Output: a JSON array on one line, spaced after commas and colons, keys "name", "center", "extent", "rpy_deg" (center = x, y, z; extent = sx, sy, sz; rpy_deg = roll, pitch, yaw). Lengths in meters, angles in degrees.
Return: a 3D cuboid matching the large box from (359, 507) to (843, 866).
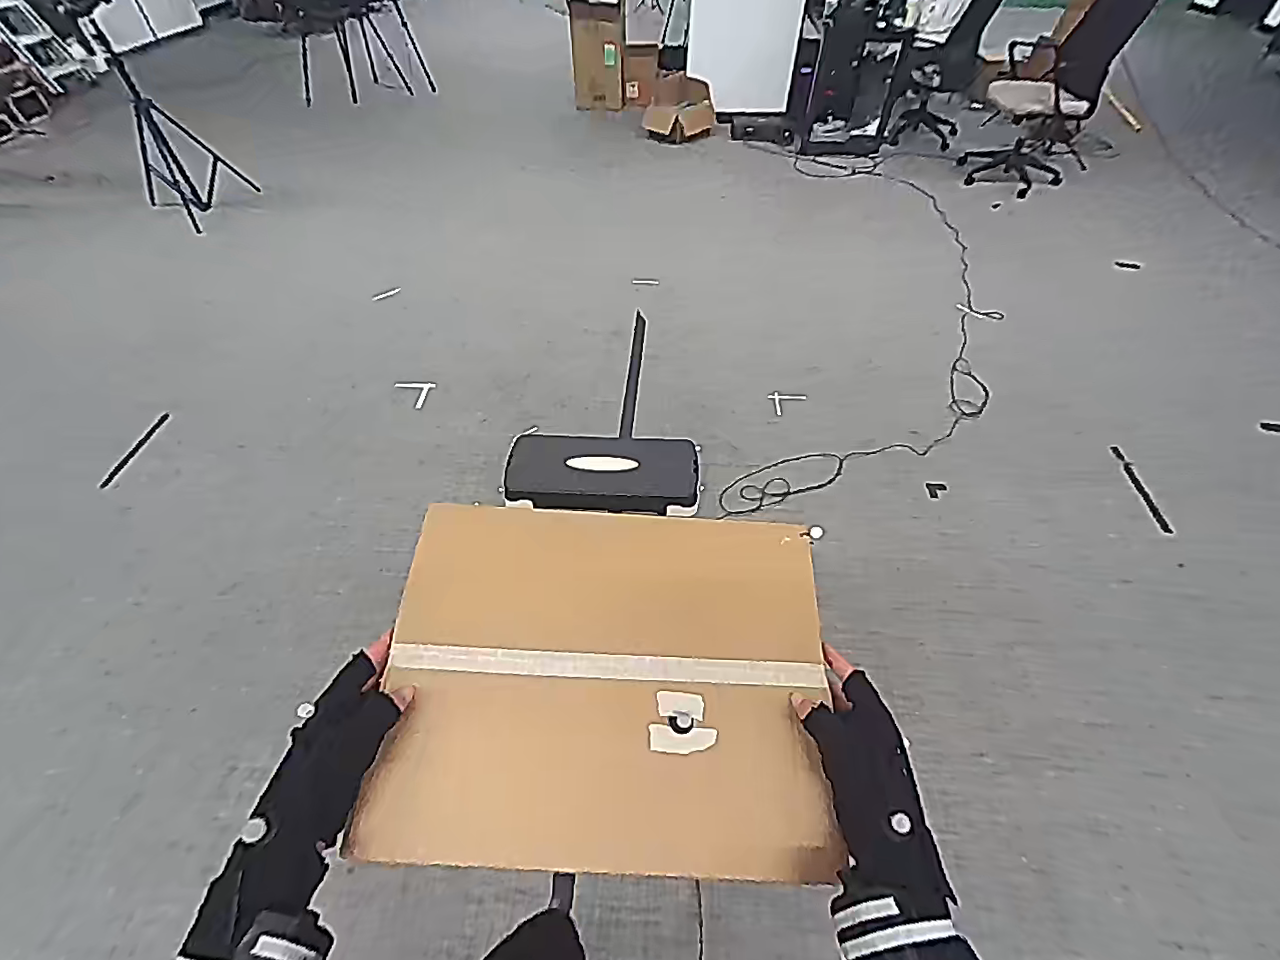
[{"name": "large box", "center": [-0.034, 0.246, 0.639], "extent": [0.408, 0.320, 0.320], "rpy_deg": [4, 61, -2]}]
